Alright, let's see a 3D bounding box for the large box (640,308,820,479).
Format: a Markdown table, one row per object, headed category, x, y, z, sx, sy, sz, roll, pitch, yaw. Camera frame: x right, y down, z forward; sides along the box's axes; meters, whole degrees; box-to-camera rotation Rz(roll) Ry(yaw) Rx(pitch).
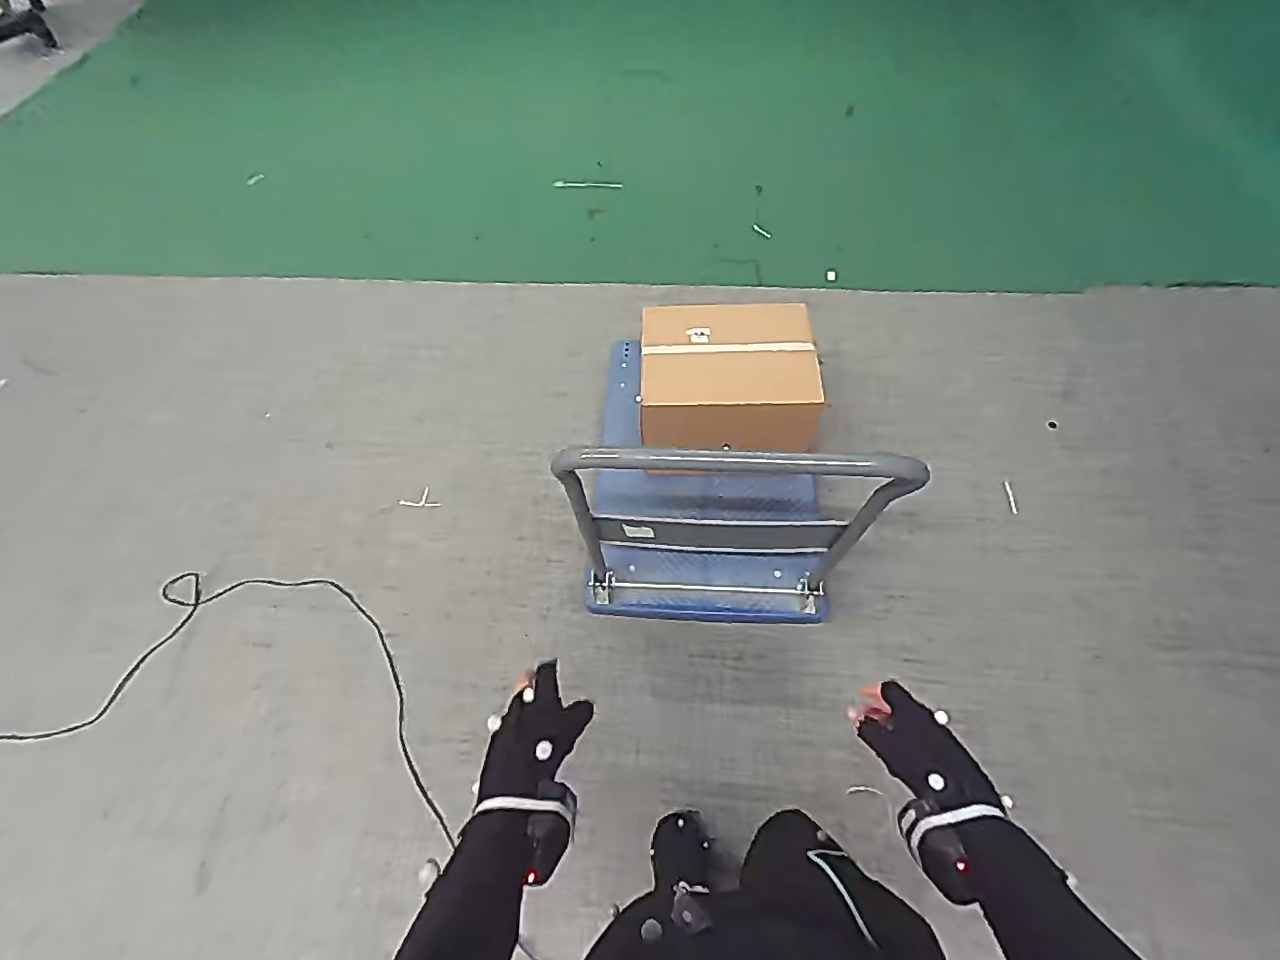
| category | x | y | z | sx | sy | sz | roll | pitch | yaw |
| --- | --- | --- | --- | --- | --- | --- | --- | --- | --- |
| large box | 0.210 | -0.213 | 1.401 | 0.408 | 0.320 | 0.320 | -2 | 59 | 3 |
